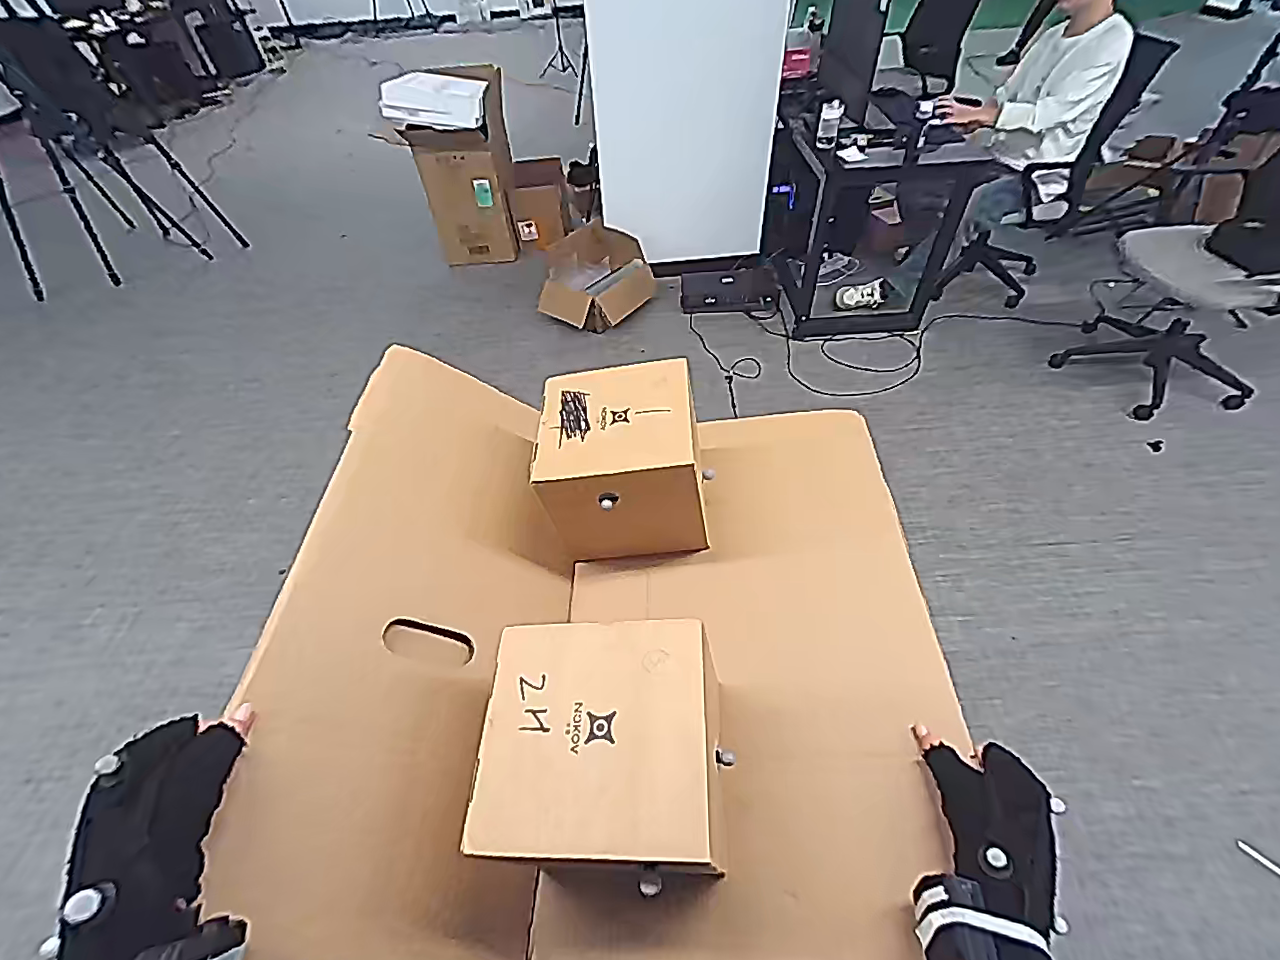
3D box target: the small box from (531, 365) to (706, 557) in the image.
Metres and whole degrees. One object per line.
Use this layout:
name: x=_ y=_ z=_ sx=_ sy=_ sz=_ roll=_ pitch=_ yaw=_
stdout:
small box: x=-0.016 y=-0.016 z=0.675 sx=0.179 sy=0.176 sz=0.168 roll=-6 pitch=52 yaw=8
